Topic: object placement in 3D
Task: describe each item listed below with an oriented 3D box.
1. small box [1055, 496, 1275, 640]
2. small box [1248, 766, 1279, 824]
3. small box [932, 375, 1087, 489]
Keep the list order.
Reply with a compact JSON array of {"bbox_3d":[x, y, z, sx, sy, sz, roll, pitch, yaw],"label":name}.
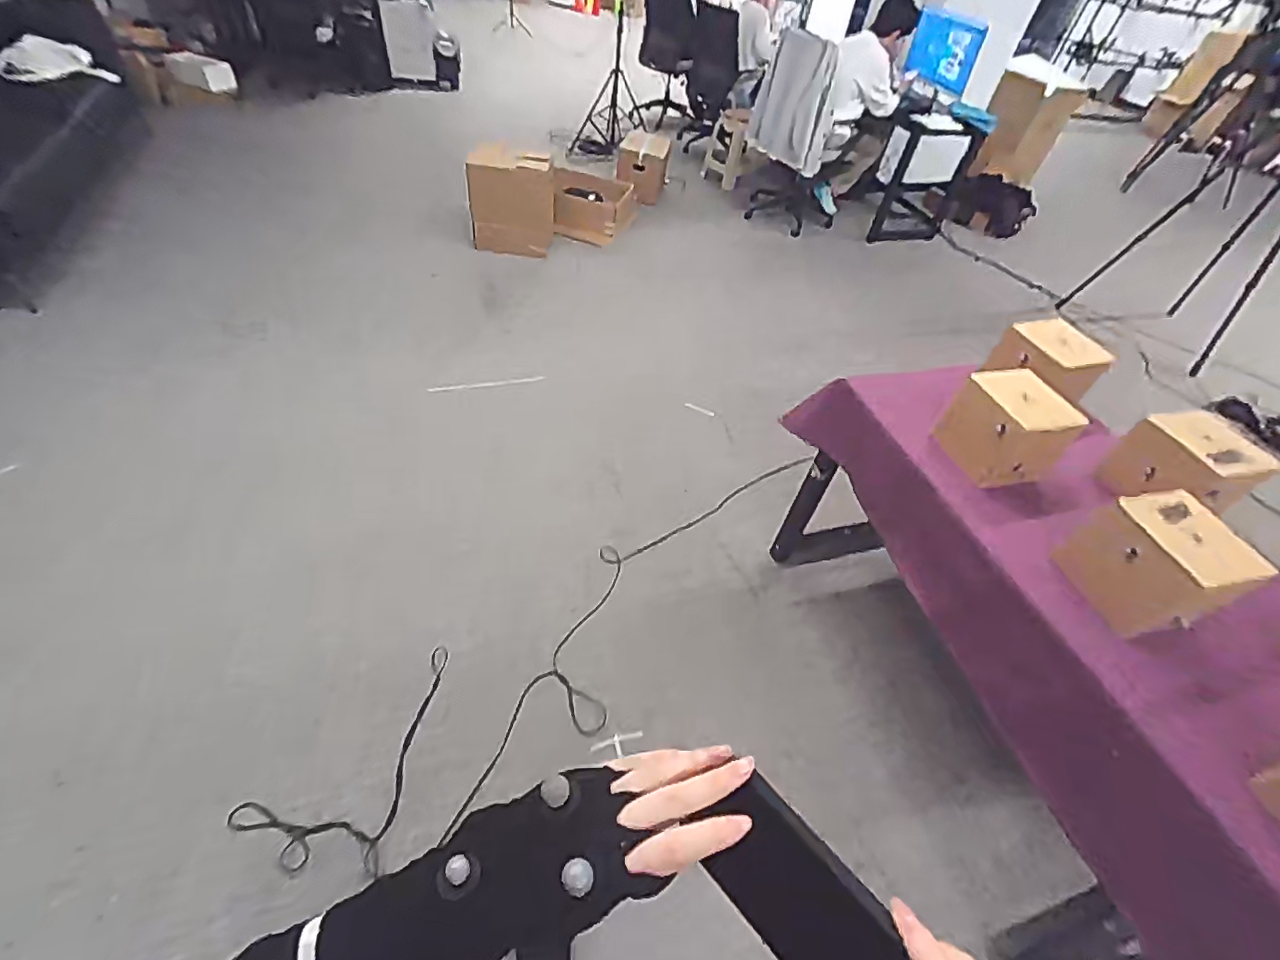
[{"bbox_3d":[0.886,0.151,0.937,0.168,0.176,0.179,-5,50,-14],"label":"small box"},{"bbox_3d":[0.976,0.437,0.687,0.168,0.176,0.179,-8,50,-17],"label":"small box"},{"bbox_3d":[0.772,-0.103,1.154,0.168,0.176,0.179,-7,50,-15],"label":"small box"}]
